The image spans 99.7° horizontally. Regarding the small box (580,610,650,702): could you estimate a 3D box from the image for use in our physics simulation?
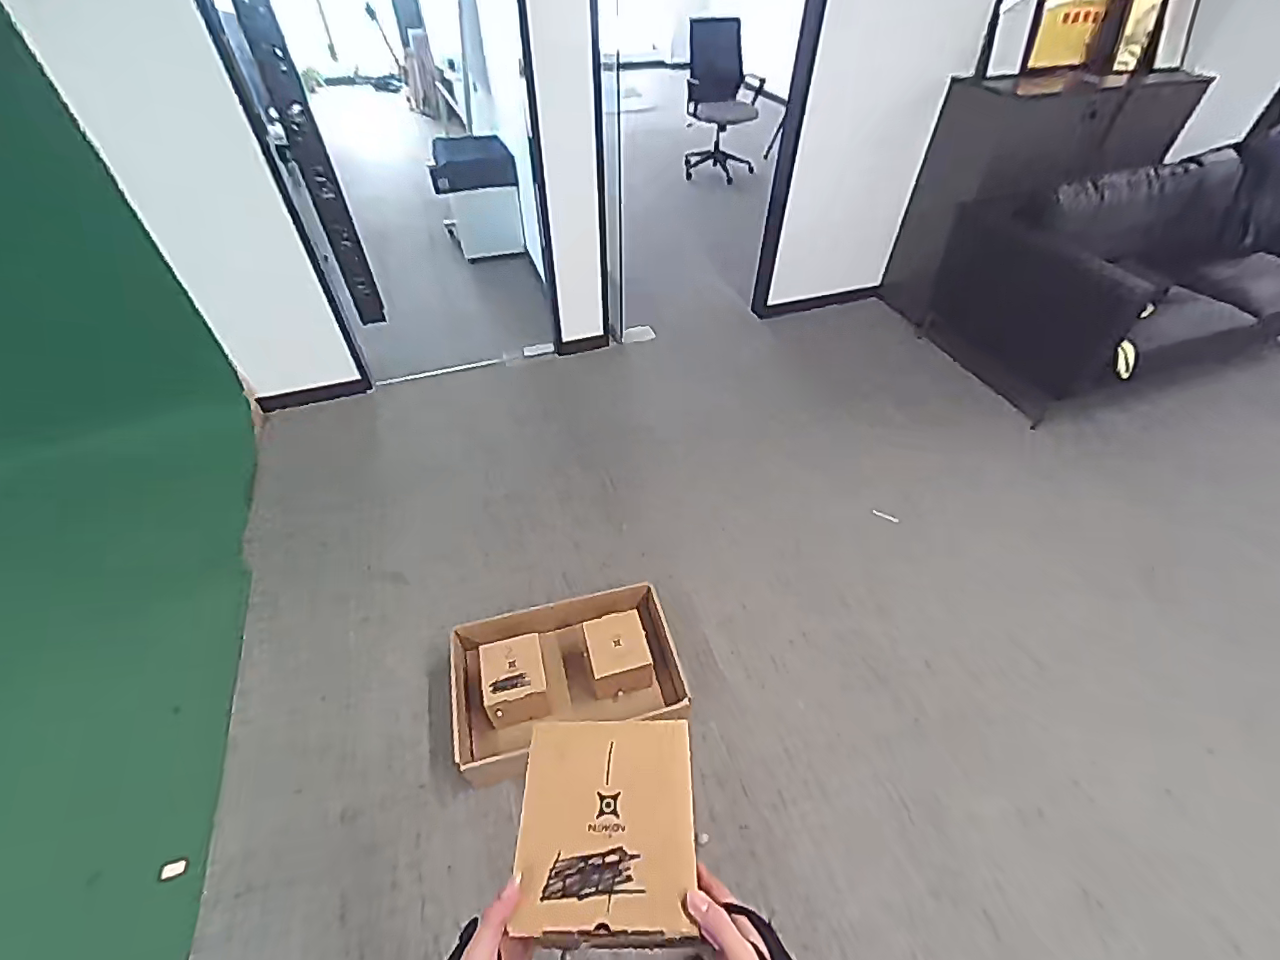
[{"bbox_3d":[-0.075,0.510,1.565,0.168,0.176,0.179,-11,48,-11],"label":"small box"}]

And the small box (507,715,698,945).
[{"bbox_3d":[-0.026,0.365,0.563,0.168,0.176,0.179,-1,45,1],"label":"small box"}]
